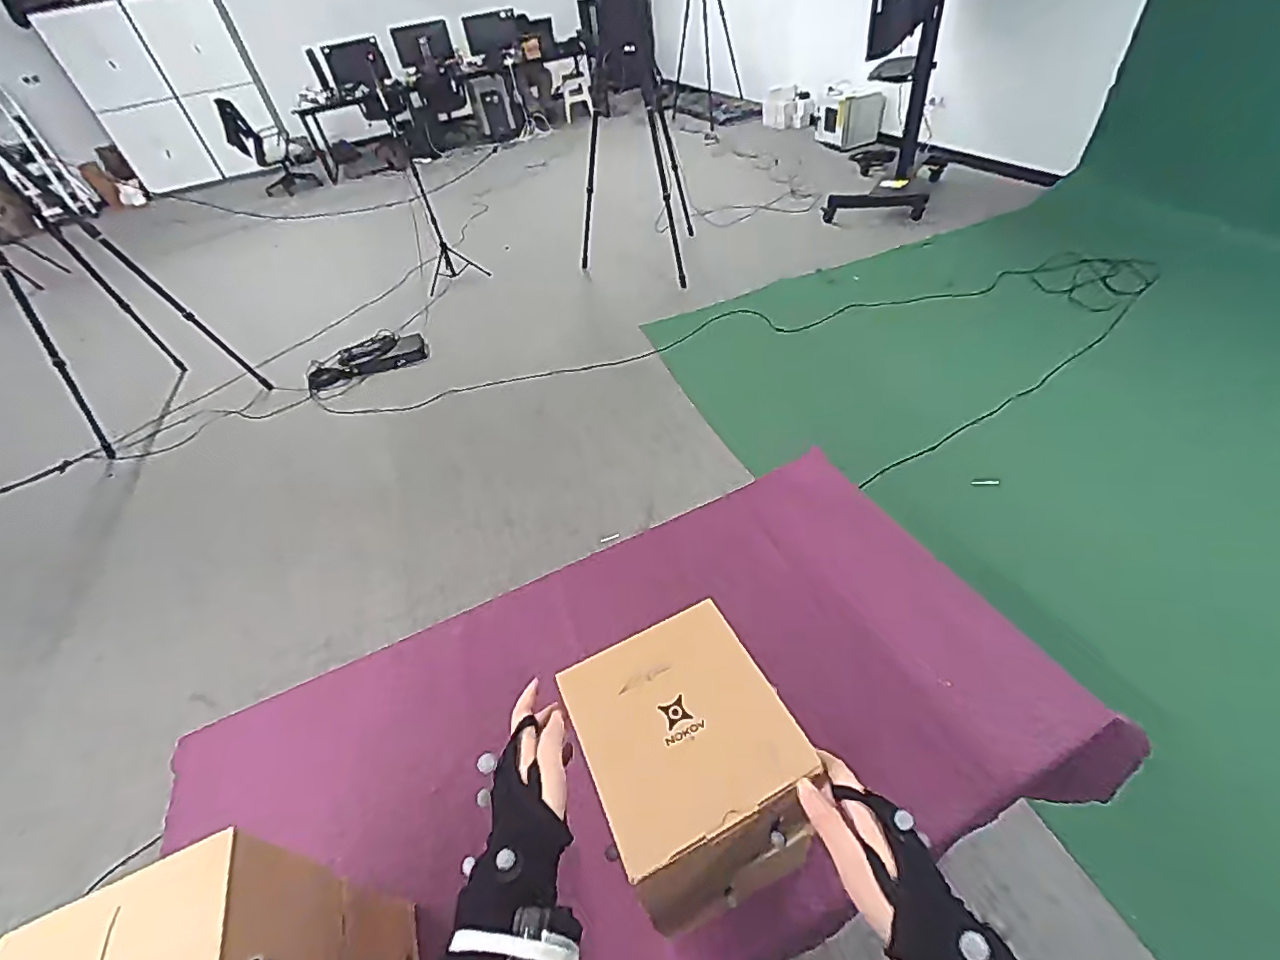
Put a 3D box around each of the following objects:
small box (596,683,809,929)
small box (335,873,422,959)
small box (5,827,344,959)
[{"bbox_3d":[0.070,0.374,0.618,0.179,0.176,0.168,-21,46,-11],"label":"small box"},{"bbox_3d":[-0.331,0.537,0.532,0.179,0.176,0.168,-22,45,-13],"label":"small box"},{"bbox_3d":[-0.352,0.419,0.420,0.168,0.176,0.179,-22,44,-13],"label":"small box"}]
